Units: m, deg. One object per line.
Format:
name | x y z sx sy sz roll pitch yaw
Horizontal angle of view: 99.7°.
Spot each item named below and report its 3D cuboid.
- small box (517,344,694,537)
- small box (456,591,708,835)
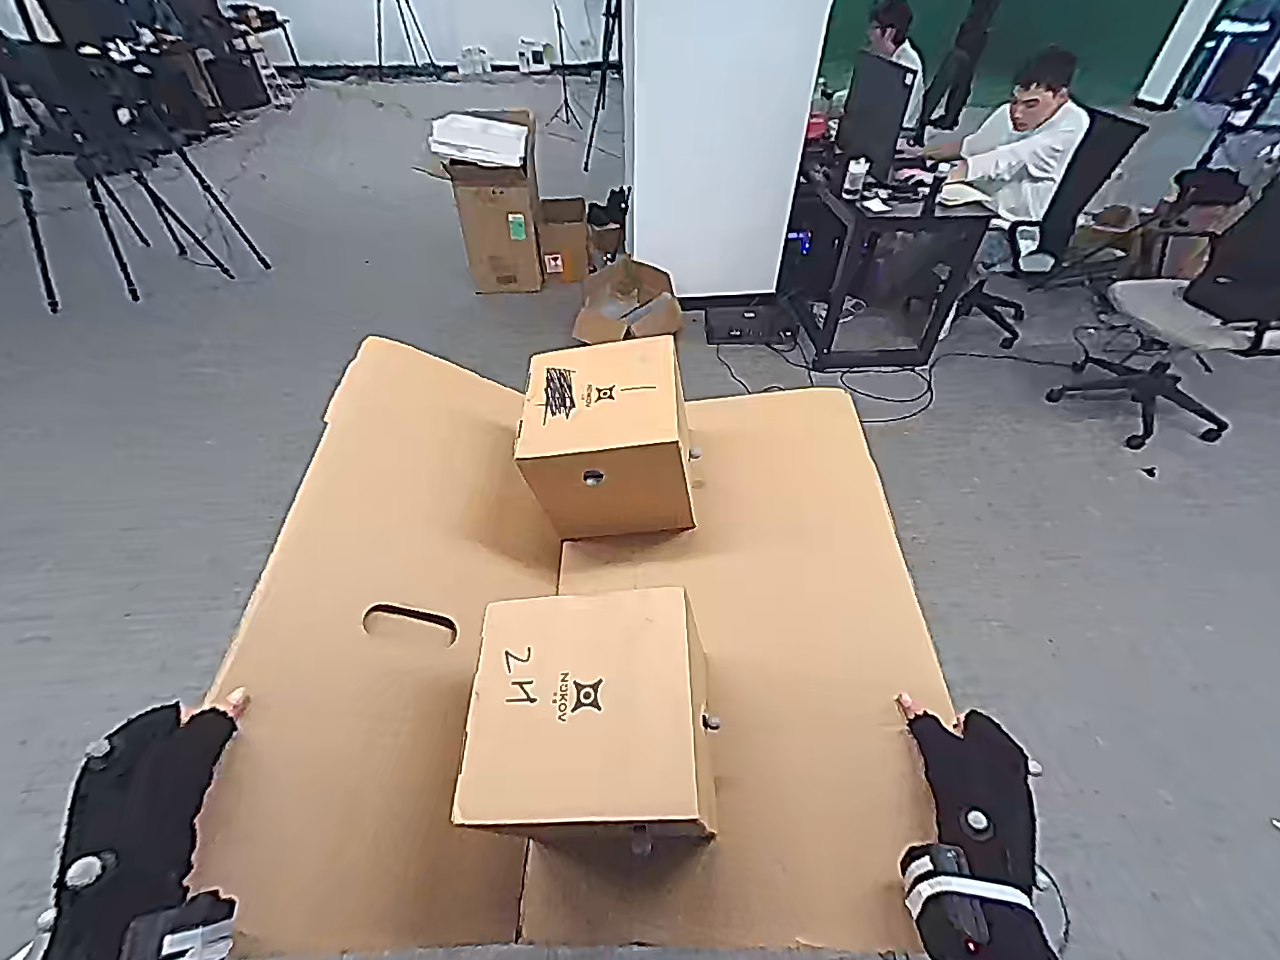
small box | -0.032 -0.041 0.674 0.179 0.176 0.168 -6 53 8
small box | -0.032 0.213 0.484 0.179 0.176 0.168 -6 53 9
